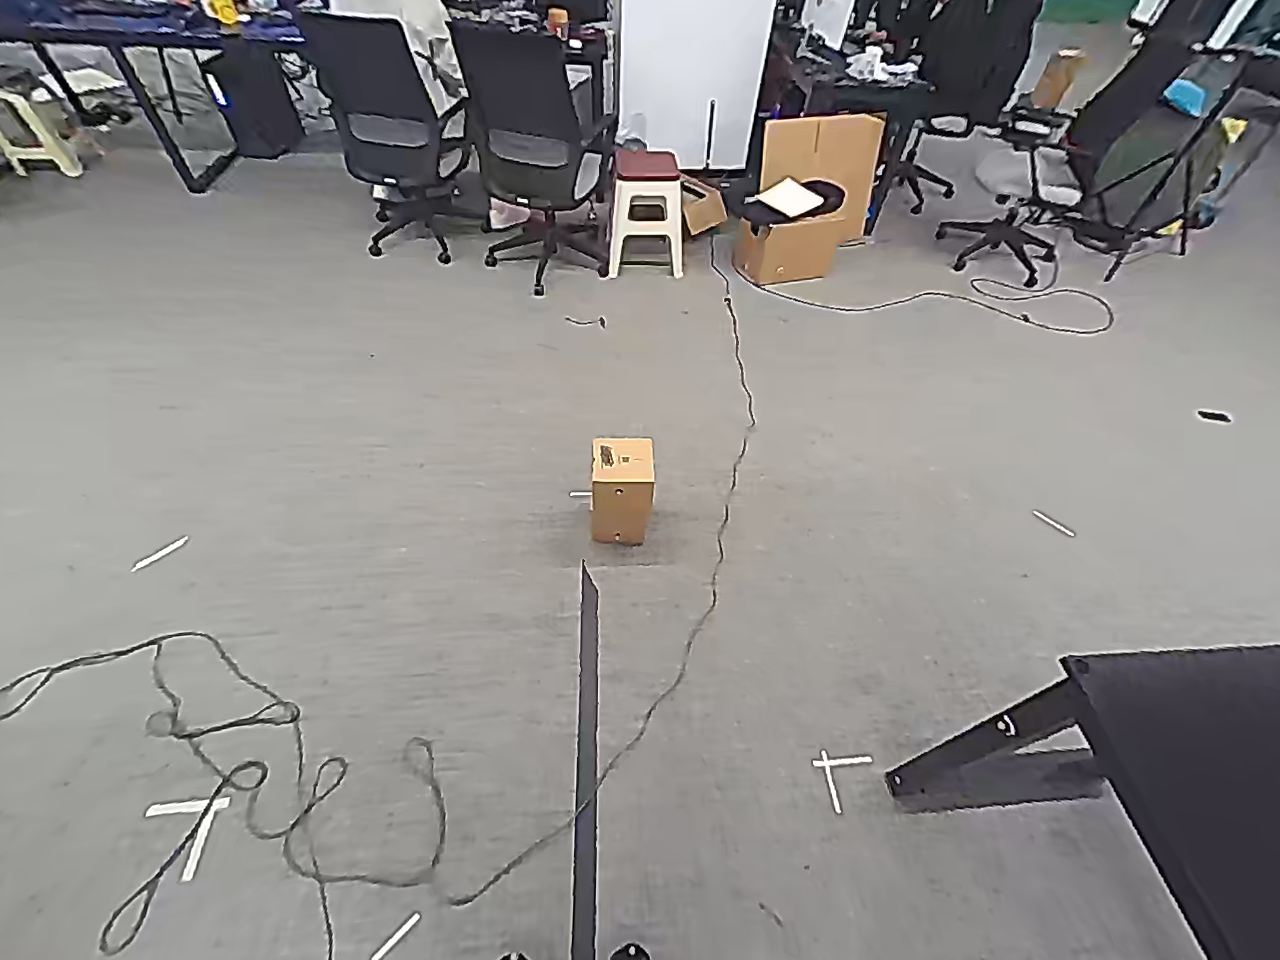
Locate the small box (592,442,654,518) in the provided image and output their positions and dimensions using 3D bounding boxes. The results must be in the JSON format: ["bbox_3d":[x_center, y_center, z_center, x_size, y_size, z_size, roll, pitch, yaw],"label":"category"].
[{"bbox_3d":[-0.052,0.002,1.610,0.179,0.176,0.168,0,51,-4],"label":"small box"}]

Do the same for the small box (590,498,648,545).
[{"bbox_3d":[-0.065,0.095,1.747,0.179,0.176,0.168,5,51,-1],"label":"small box"}]
